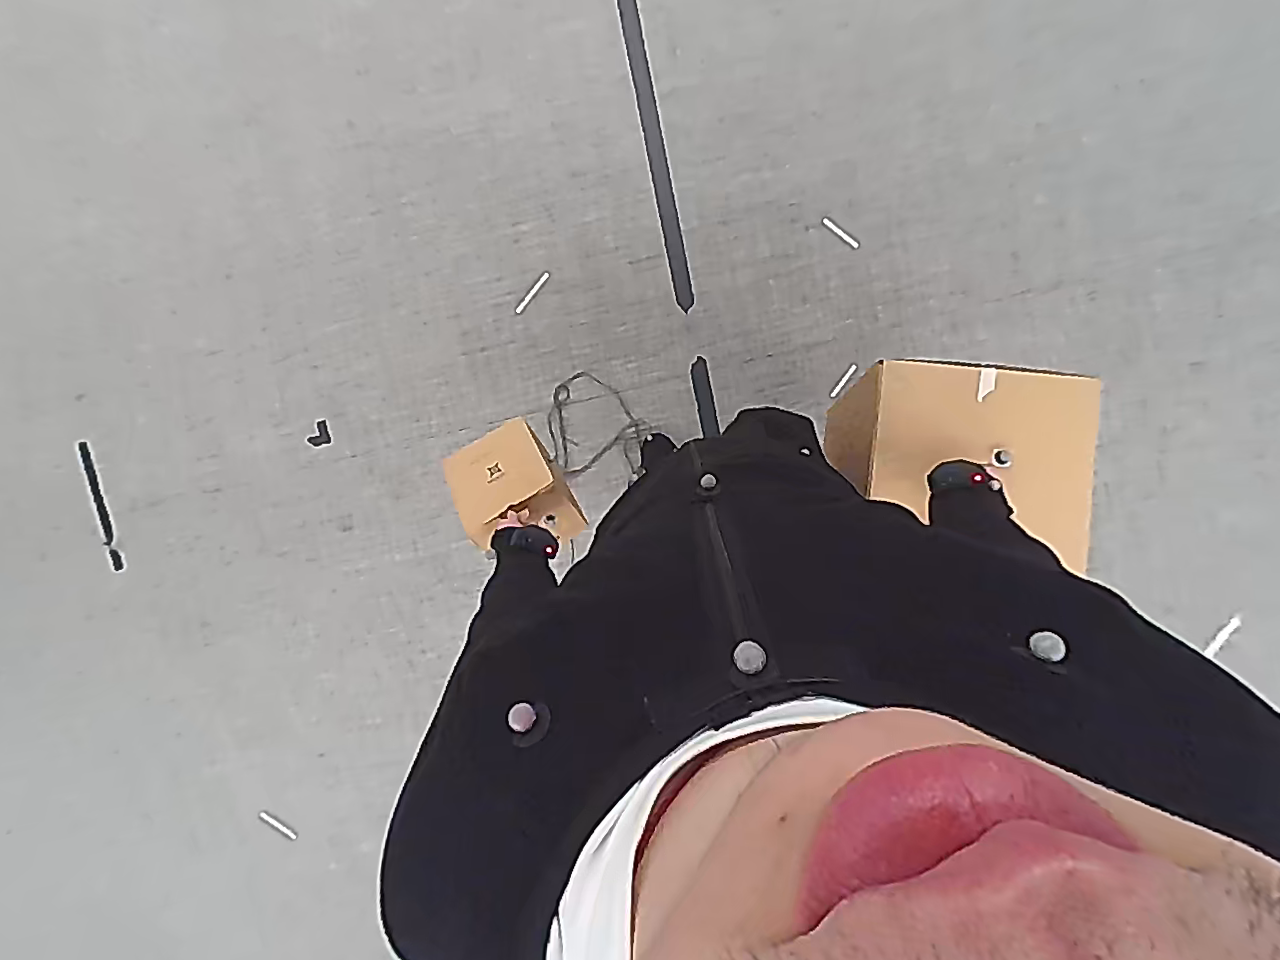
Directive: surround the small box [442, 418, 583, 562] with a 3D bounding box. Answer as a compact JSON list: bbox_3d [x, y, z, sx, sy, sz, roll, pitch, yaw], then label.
[{"bbox_3d":[-0.224,0.028,0.978,0.168,0.176,0.179,-30,55,-4],"label":"small box"}]
